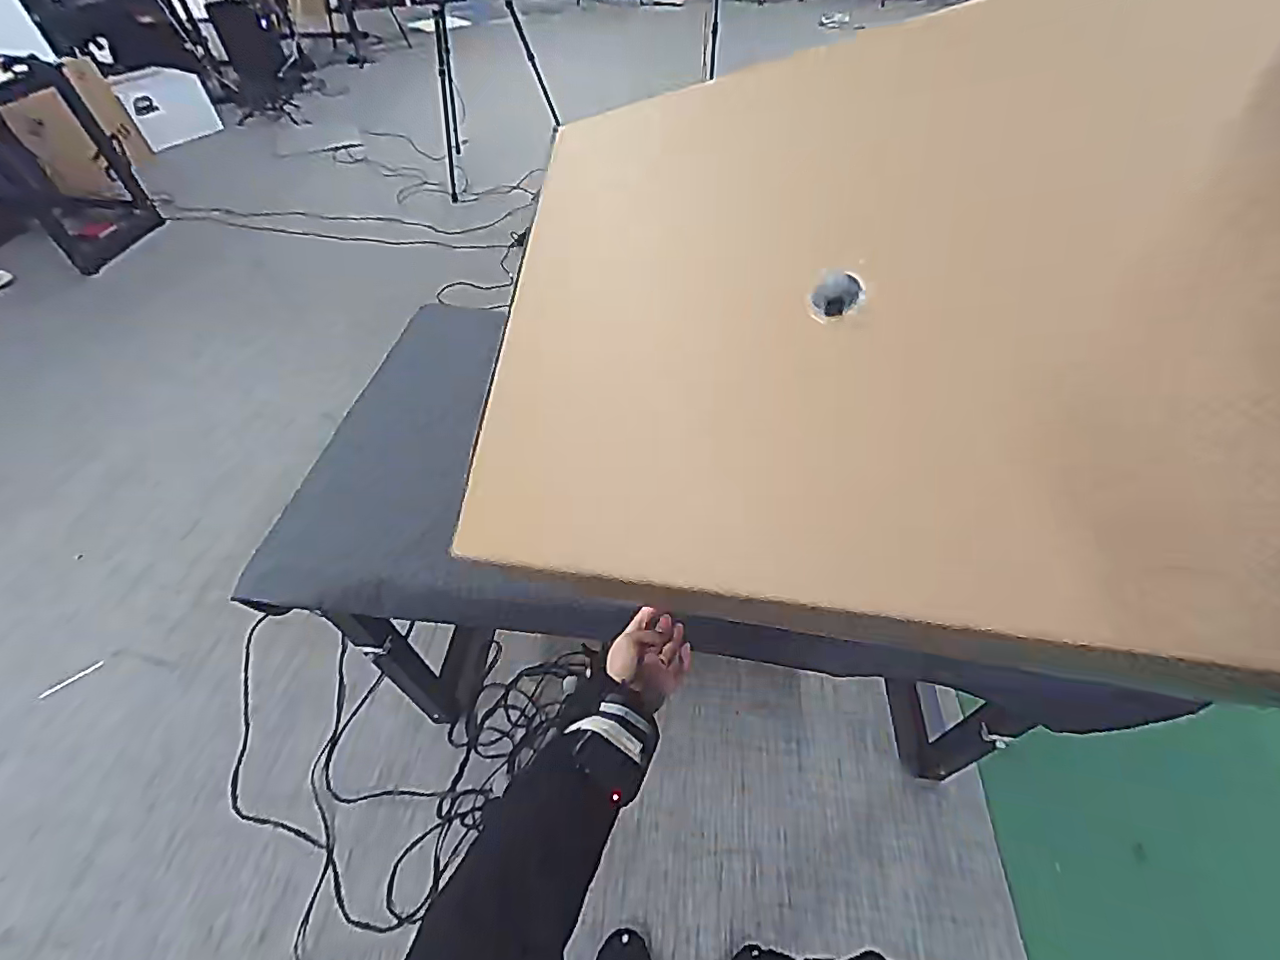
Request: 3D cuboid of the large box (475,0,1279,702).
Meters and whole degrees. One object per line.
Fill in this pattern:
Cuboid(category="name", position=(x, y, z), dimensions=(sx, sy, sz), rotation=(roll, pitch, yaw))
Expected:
Cuboid(category="large box", position=(0.158, -0.042, 0.393), dimensions=(0.408, 0.320, 0.320), rotation=(1, 74, 25))
